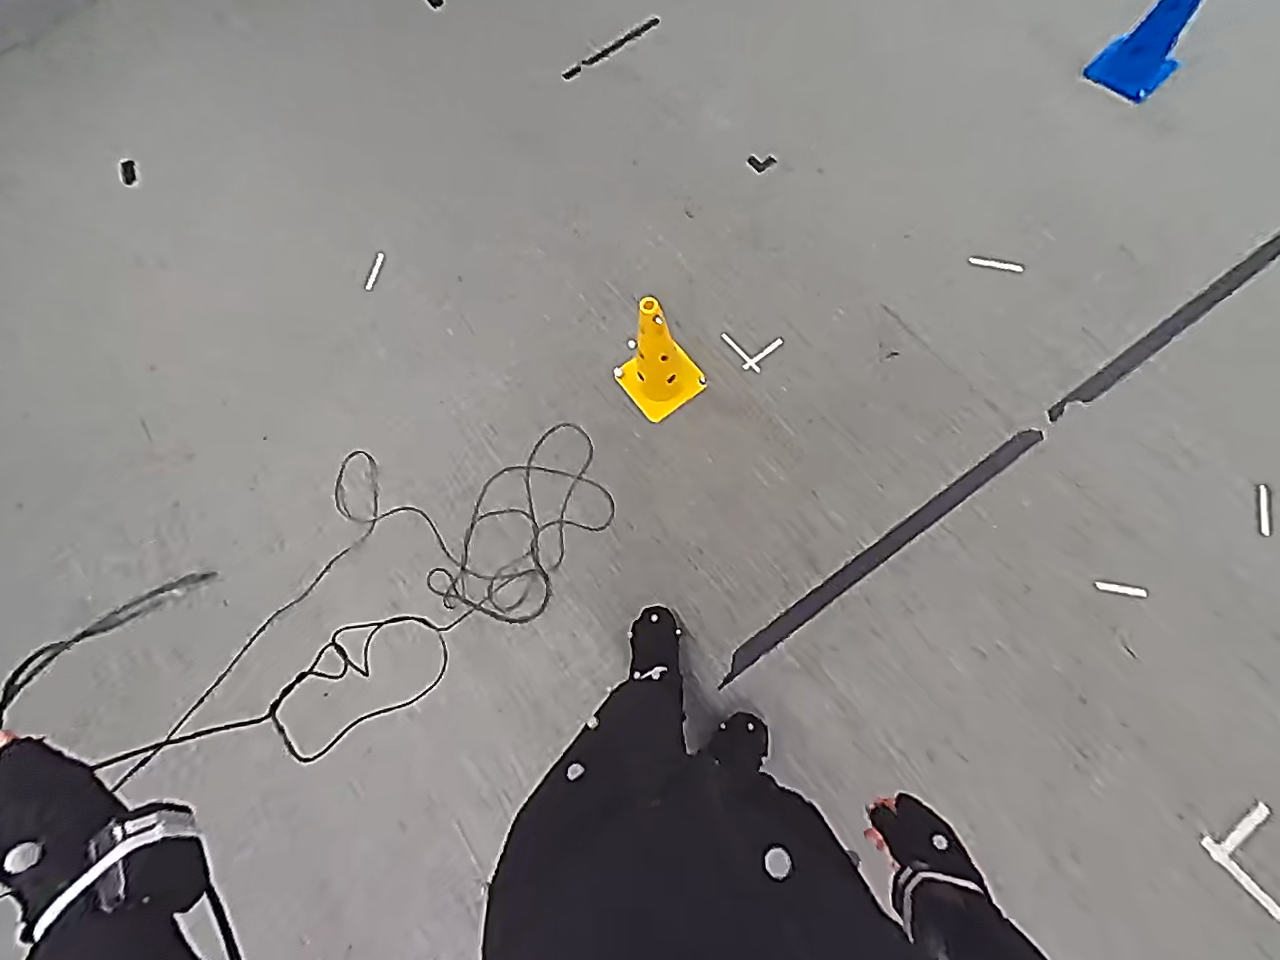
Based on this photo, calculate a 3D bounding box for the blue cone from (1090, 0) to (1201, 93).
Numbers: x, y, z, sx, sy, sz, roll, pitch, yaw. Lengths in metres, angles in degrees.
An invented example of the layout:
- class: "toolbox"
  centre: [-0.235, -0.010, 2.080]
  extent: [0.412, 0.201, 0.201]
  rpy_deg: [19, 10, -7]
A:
- class: "blue cone"
  centre: [1.452, -1.296, 1.459]
  extent: [0.193, 0.380, 0.192]
  rpy_deg: [-42, 74, -6]
